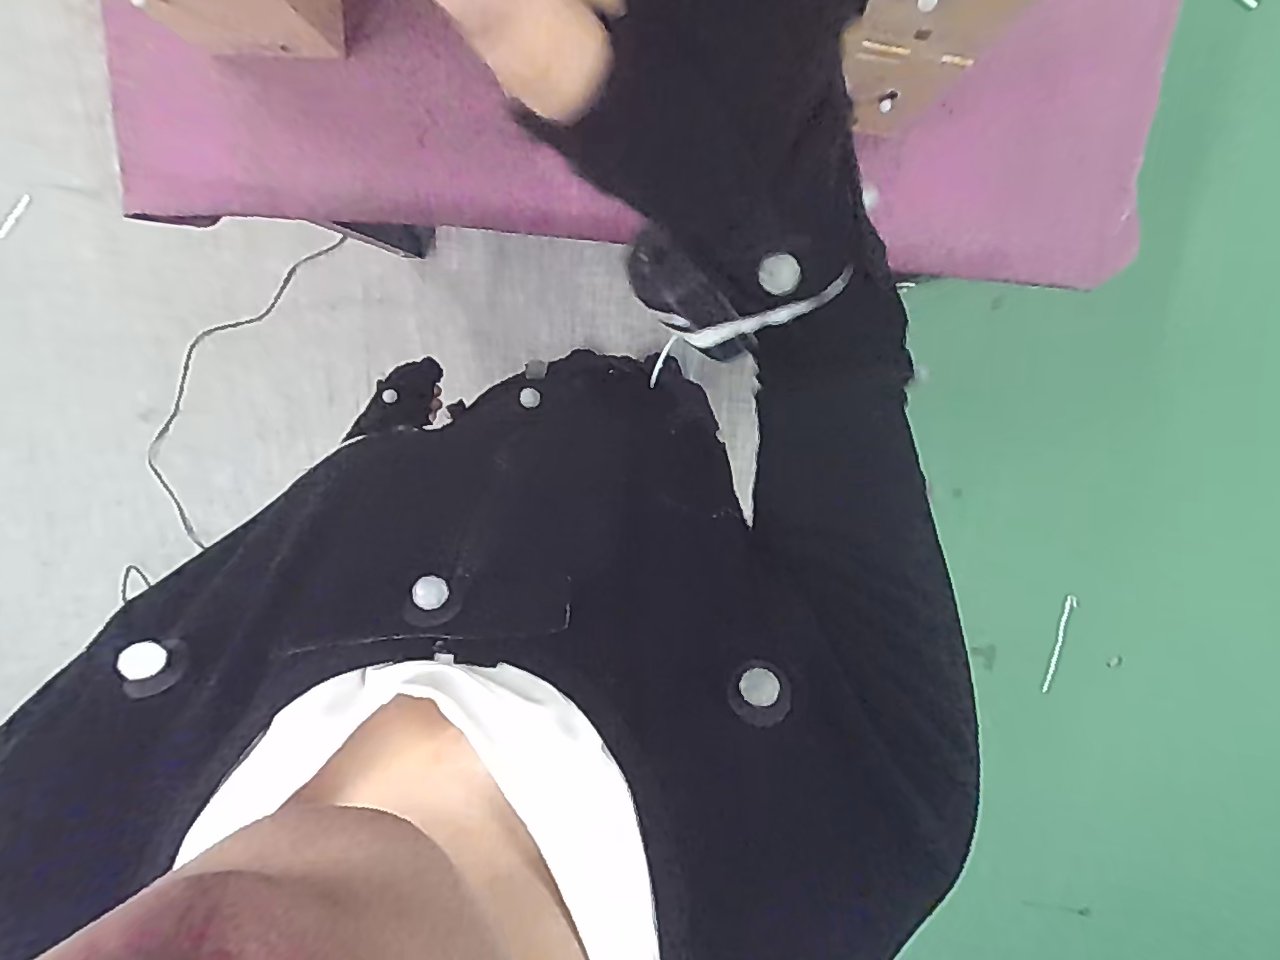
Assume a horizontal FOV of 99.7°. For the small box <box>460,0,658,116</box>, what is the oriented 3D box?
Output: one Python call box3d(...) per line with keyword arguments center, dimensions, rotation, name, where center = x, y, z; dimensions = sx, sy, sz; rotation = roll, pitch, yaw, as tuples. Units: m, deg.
box3d(center=(-0.067, -0.502, 0.536), dimensions=(0.168, 0.176, 0.179), rotation=(6, 104, 0), name="small box")
